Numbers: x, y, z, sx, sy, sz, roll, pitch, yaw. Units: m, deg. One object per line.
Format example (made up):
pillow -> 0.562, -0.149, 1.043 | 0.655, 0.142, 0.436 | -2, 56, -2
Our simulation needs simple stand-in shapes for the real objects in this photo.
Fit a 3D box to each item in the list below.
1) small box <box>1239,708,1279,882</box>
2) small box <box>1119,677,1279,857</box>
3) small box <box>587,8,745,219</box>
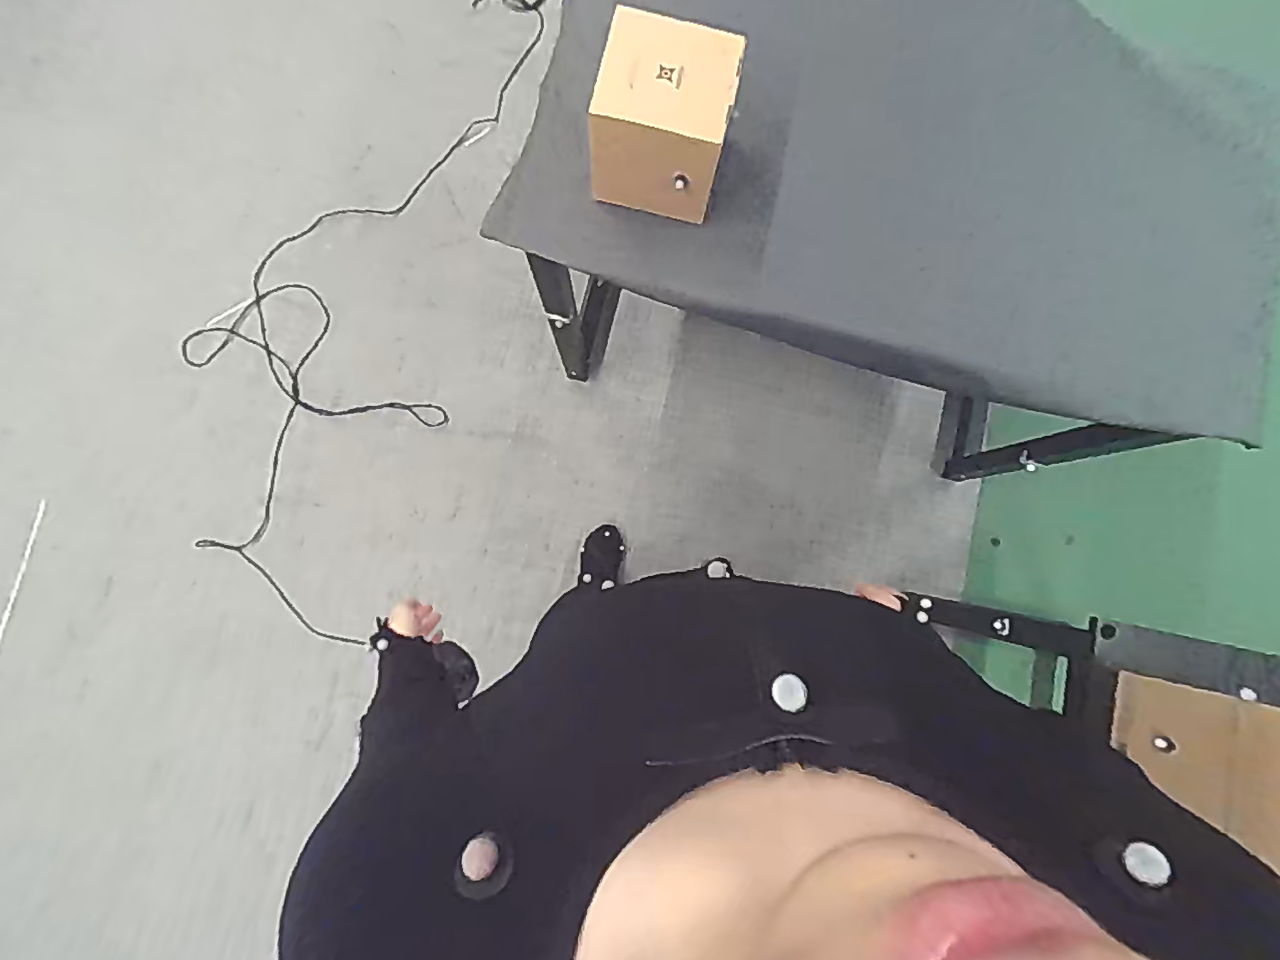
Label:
small box -> 0.749, 0.347, 0.520 | 0.168, 0.176, 0.179 | 13, 83, 1
small box -> 0.763, 0.363, 0.681 | 0.179, 0.176, 0.168 | 13, 84, 0
small box -> 0.032, -0.502, 0.767 | 0.179, 0.176, 0.168 | 12, 81, 1
